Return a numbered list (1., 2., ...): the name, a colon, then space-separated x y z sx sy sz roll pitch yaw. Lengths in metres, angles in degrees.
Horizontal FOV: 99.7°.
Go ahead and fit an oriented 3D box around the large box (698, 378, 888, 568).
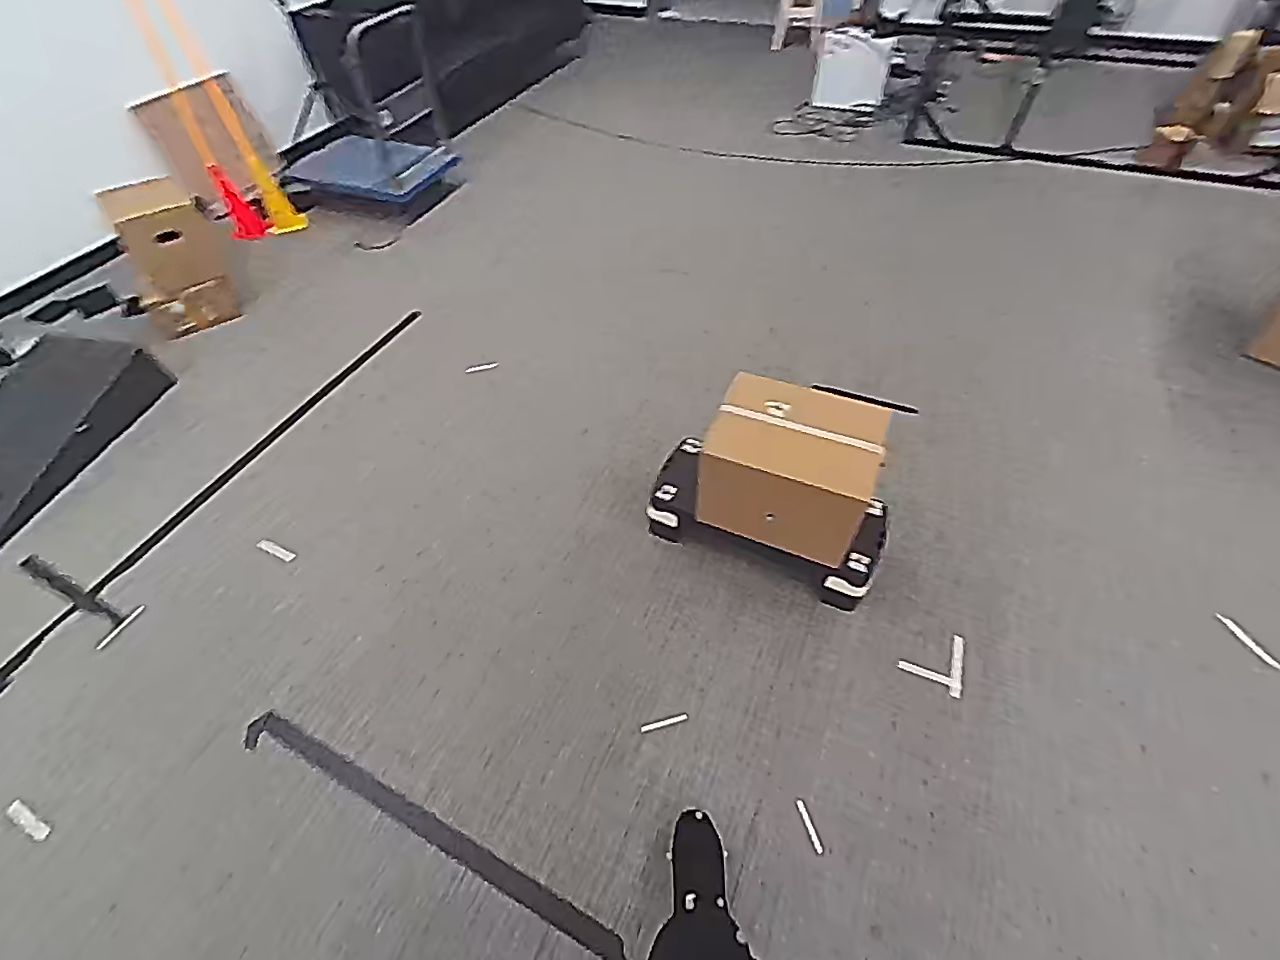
1. large box: 0.393 -0.019 1.441 0.408 0.320 0.320 18 54 17
